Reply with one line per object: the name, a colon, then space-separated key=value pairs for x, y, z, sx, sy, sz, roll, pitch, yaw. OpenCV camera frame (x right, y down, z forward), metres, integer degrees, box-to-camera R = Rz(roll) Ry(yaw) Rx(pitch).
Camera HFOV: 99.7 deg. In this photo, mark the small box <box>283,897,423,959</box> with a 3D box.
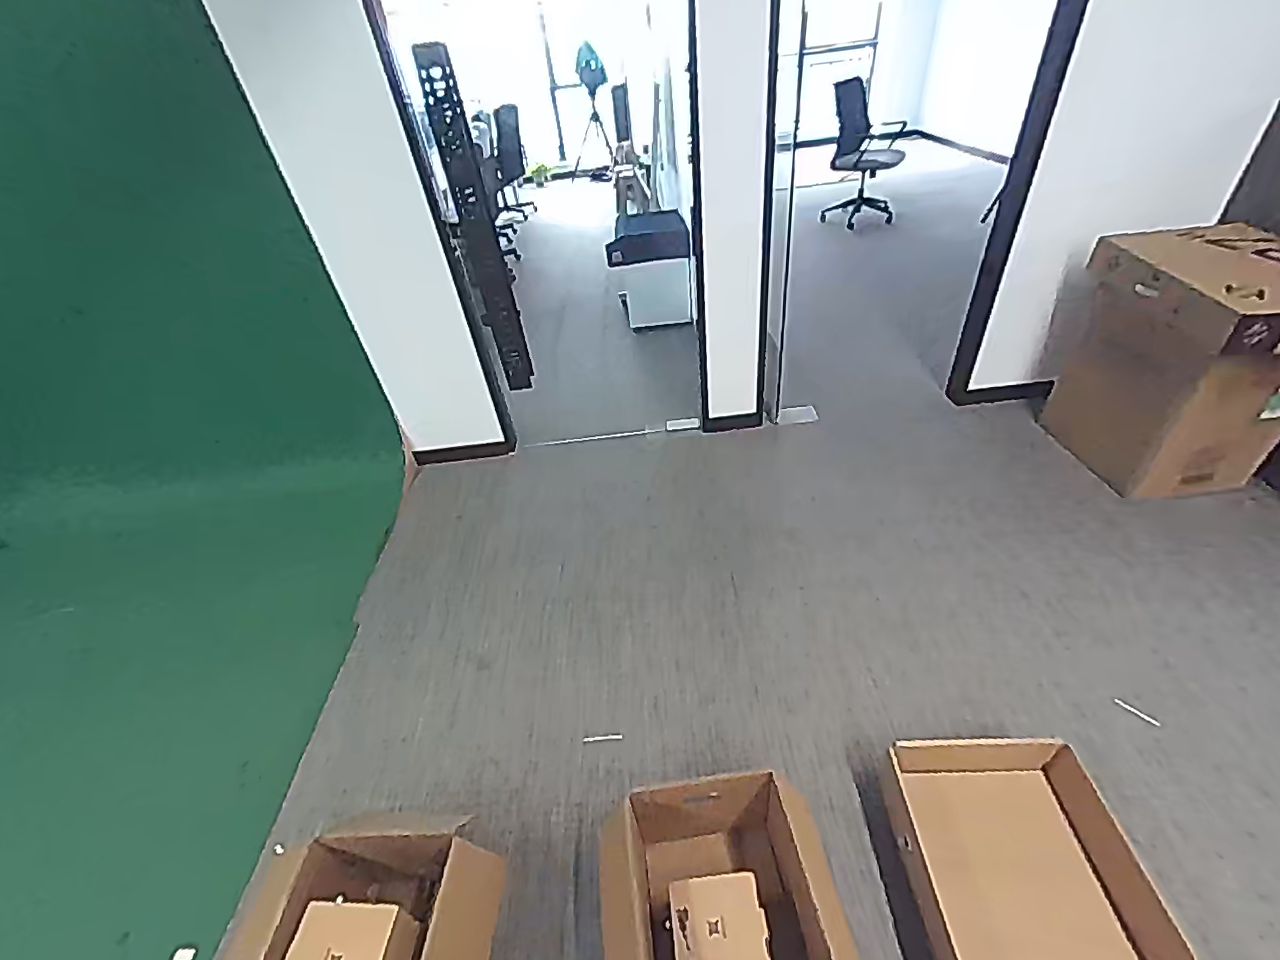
small box: x=-0.518 y=0.875 z=0.970 sx=0.179 sy=0.176 sz=0.168 roll=-2 pitch=39 yaw=5
